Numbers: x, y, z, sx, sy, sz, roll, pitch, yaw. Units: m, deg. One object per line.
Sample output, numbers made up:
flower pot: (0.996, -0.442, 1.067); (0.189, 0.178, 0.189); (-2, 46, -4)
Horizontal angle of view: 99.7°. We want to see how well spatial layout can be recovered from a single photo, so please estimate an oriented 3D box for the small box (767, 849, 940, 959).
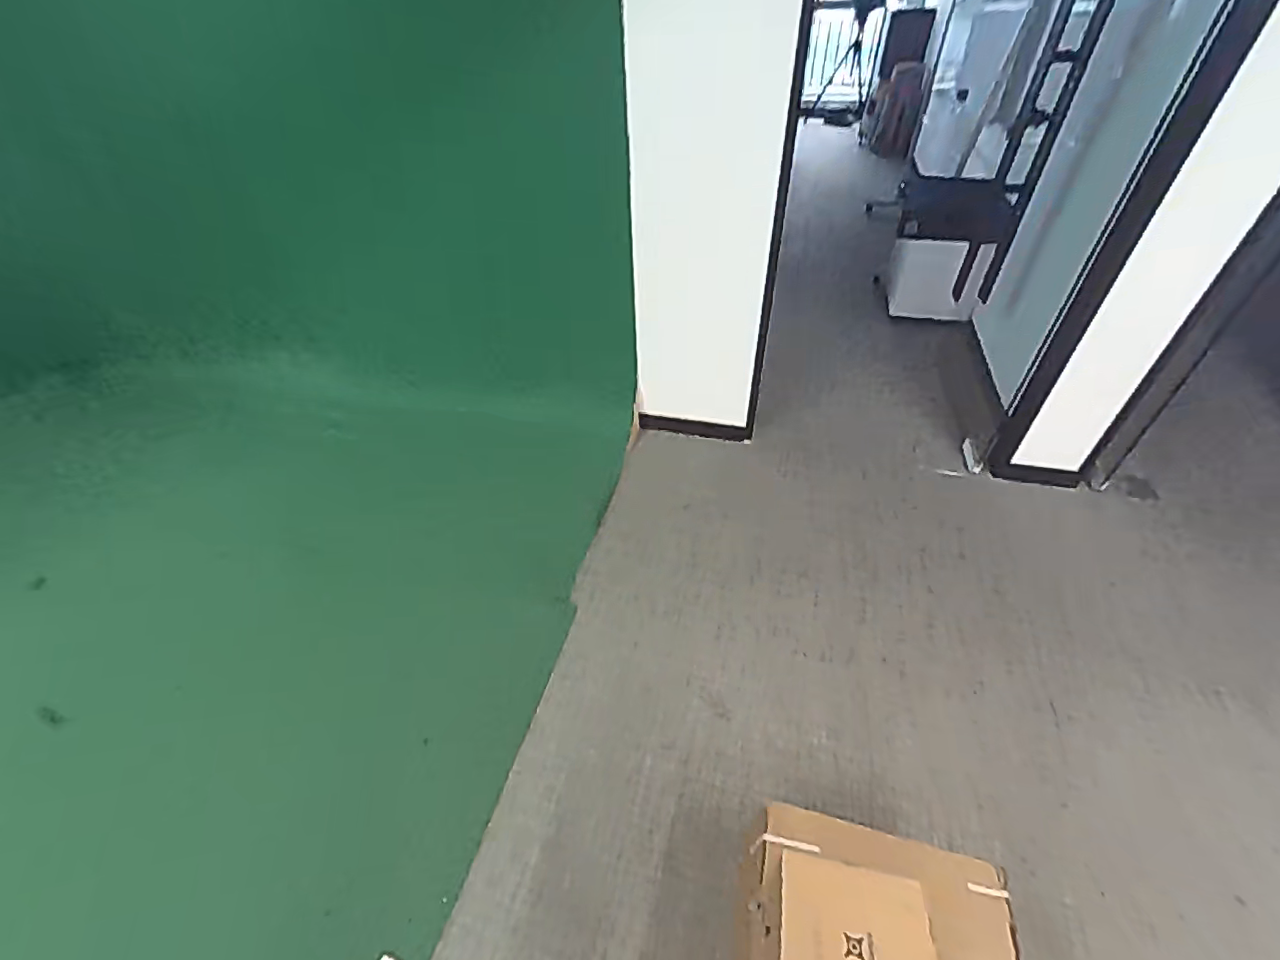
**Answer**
small box: (0.257, 0.600, 0.675); (0.179, 0.176, 0.168); (7, 41, 12)
